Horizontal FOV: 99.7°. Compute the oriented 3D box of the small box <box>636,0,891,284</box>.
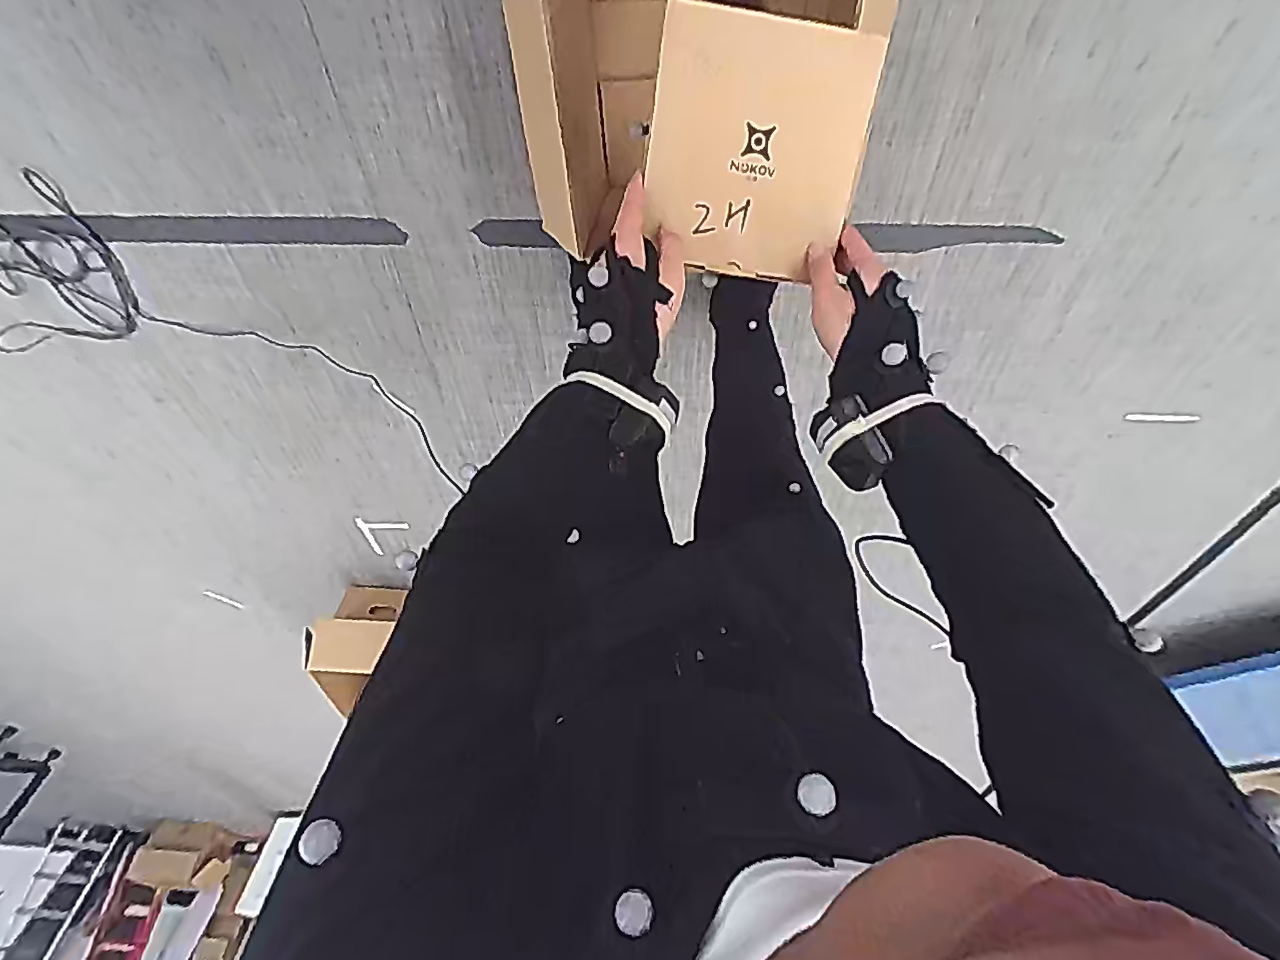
[{"bbox_3d":[0.088,-0.283,0.488,0.168,0.176,0.179,7,112,-4],"label":"small box"}]
